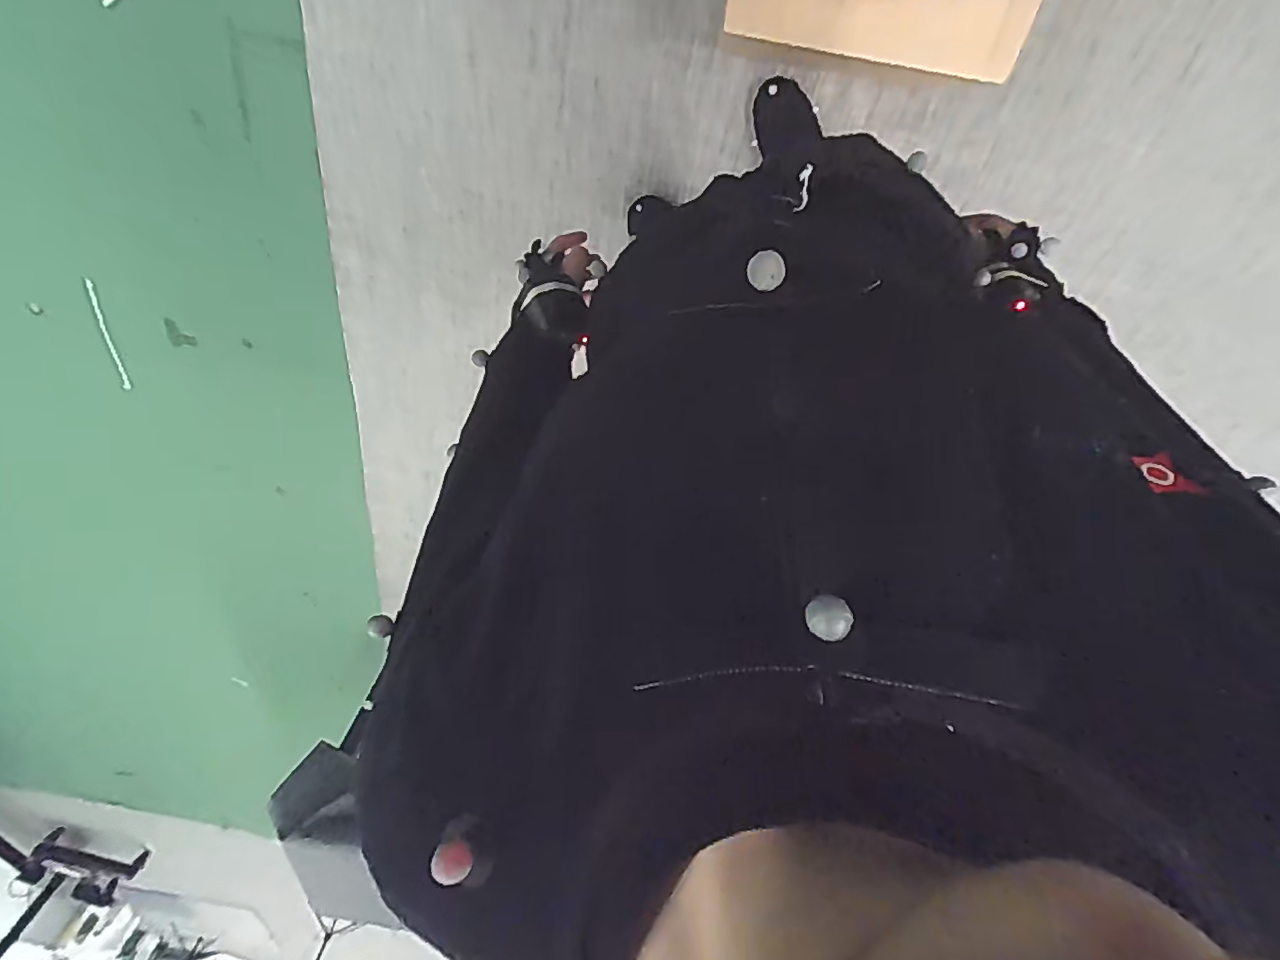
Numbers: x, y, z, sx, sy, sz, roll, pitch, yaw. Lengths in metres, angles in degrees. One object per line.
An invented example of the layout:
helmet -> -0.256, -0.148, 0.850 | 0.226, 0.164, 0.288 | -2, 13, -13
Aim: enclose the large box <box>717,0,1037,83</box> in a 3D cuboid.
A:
large box -> 0.342, -0.797, 0.784 | 0.408, 0.320, 0.320 | 9, 126, -1
